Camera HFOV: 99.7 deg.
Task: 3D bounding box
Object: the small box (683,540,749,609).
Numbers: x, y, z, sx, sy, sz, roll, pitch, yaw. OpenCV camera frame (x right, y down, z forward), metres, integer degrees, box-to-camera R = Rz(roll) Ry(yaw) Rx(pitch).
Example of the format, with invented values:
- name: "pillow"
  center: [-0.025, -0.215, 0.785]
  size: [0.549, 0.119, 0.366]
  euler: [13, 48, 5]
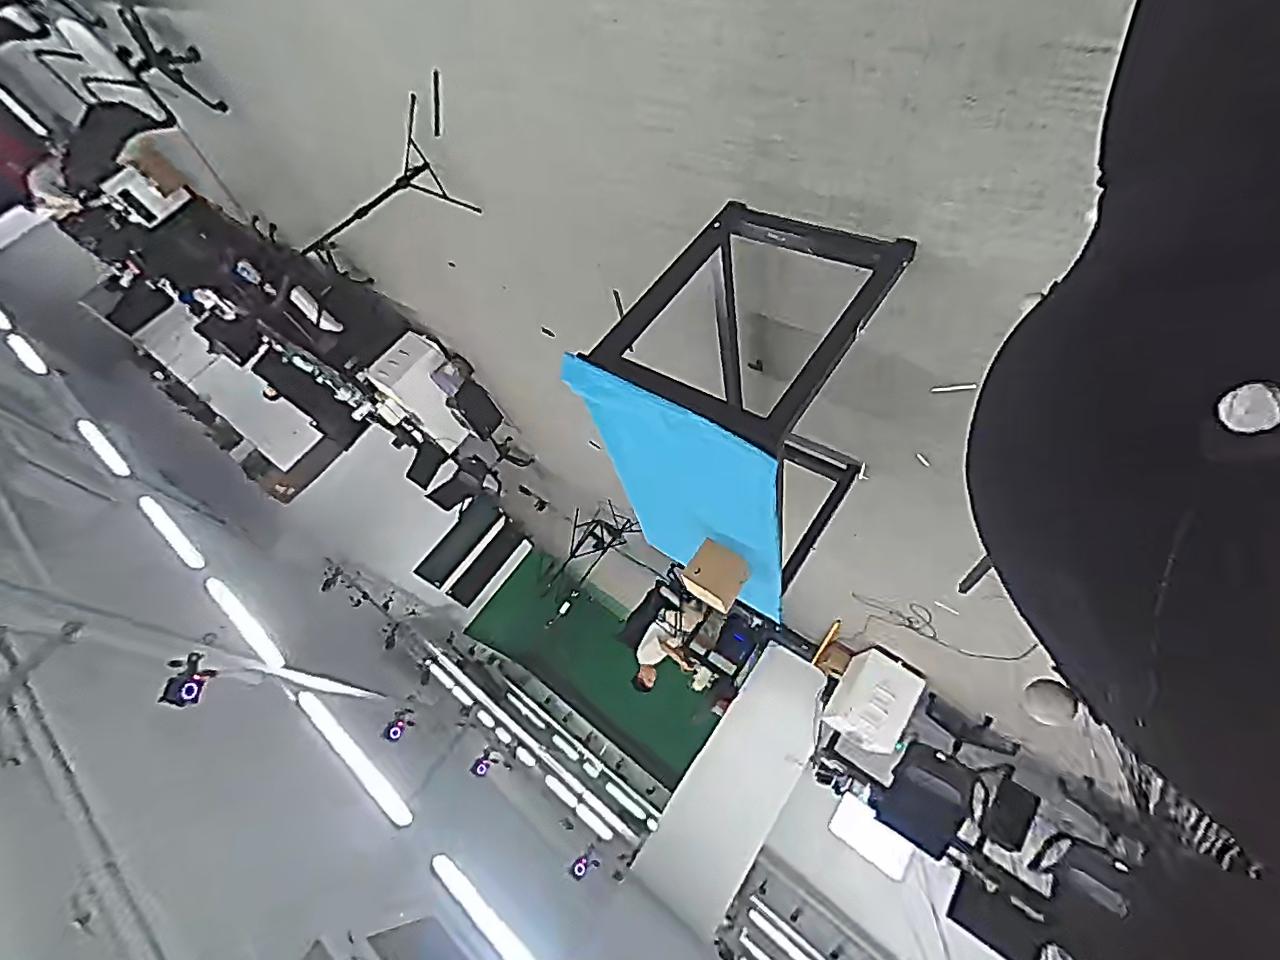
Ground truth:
- name: "small box"
  center: [0.282, 0.340, 1.983]
  size: [0.179, 0.176, 0.168]
  euler: [28, 161, 25]
